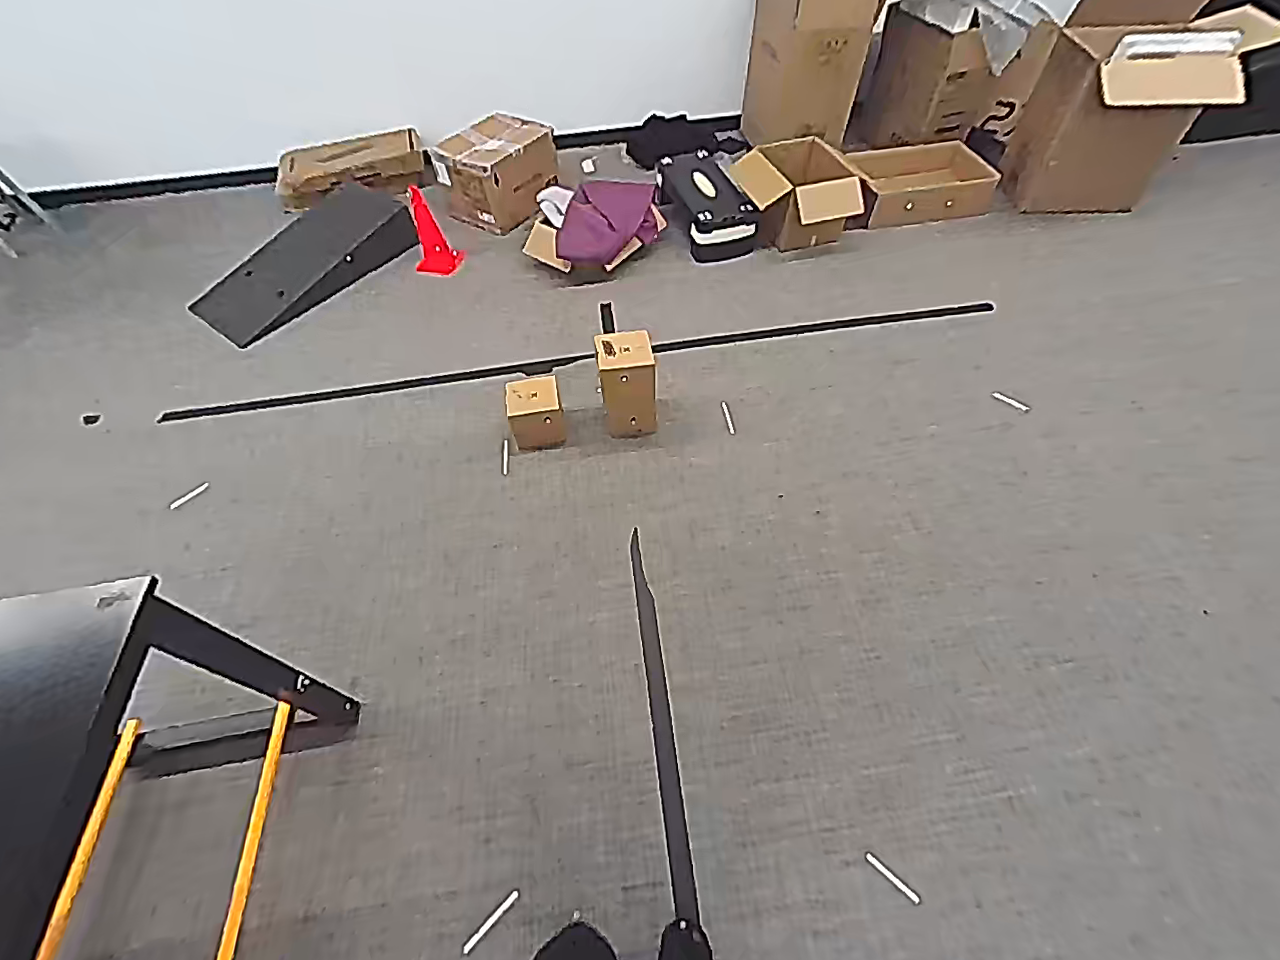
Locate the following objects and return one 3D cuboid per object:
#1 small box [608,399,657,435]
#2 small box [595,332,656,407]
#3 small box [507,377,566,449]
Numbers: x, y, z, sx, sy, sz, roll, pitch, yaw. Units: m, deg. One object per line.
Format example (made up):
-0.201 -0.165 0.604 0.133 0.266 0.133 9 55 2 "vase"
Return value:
-0.031 -0.273 1.903 0.168 0.176 0.179 -7 55 -2 "small box"
-0.046 -0.355 1.759 0.179 0.176 0.168 -8 55 -3 "small box"
-0.356 -0.231 1.889 0.179 0.176 0.168 -10 54 -3 "small box"
